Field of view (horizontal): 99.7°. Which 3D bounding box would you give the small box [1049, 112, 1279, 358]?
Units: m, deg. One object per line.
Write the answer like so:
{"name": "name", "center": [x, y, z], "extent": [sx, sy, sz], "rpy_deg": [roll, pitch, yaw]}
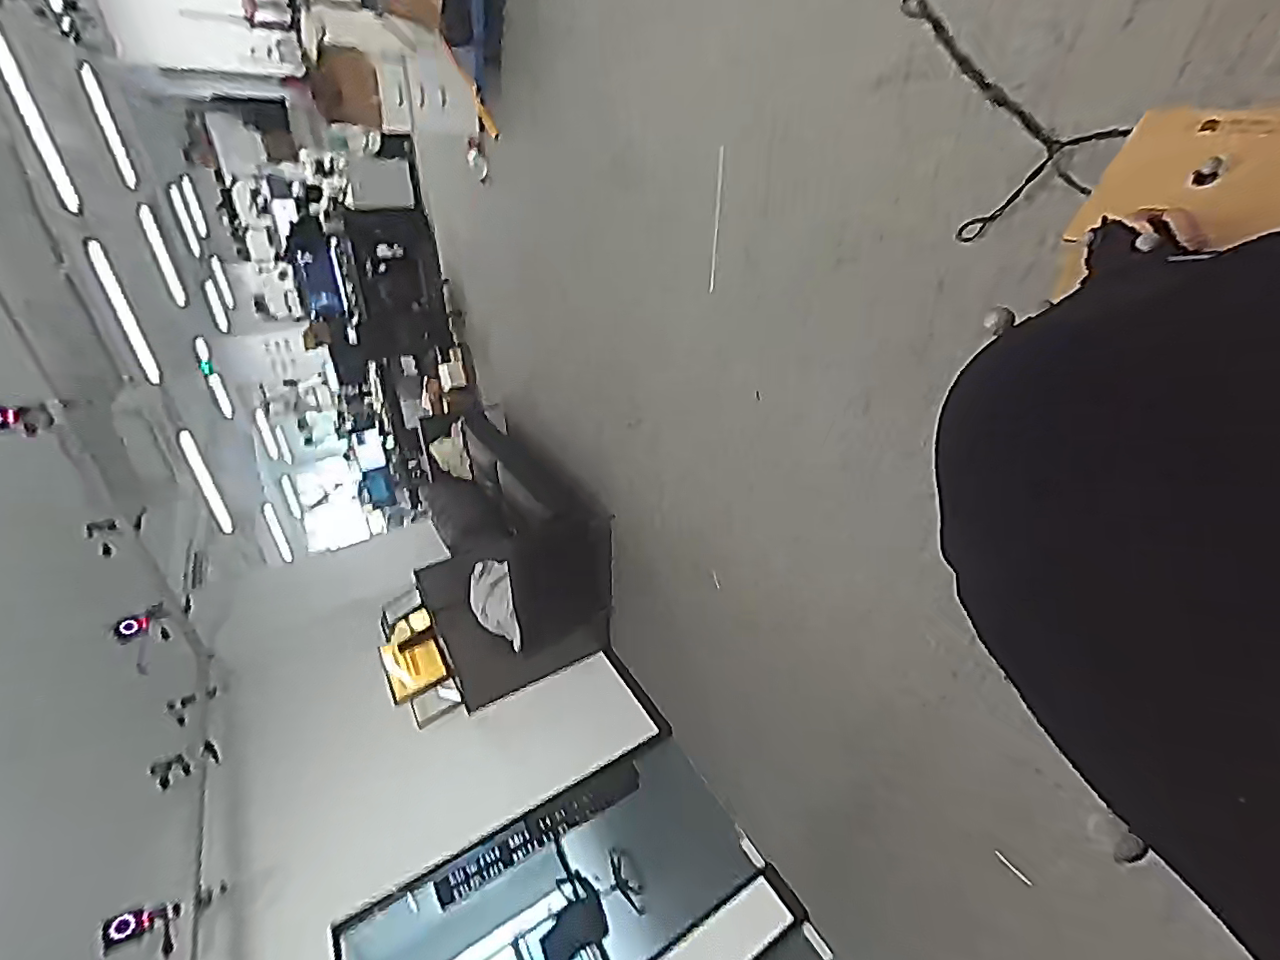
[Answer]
{"name": "small box", "center": [0.599, -0.272, 0.601], "extent": [0.168, 0.176, 0.179], "rpy_deg": [33, 179, 38]}
